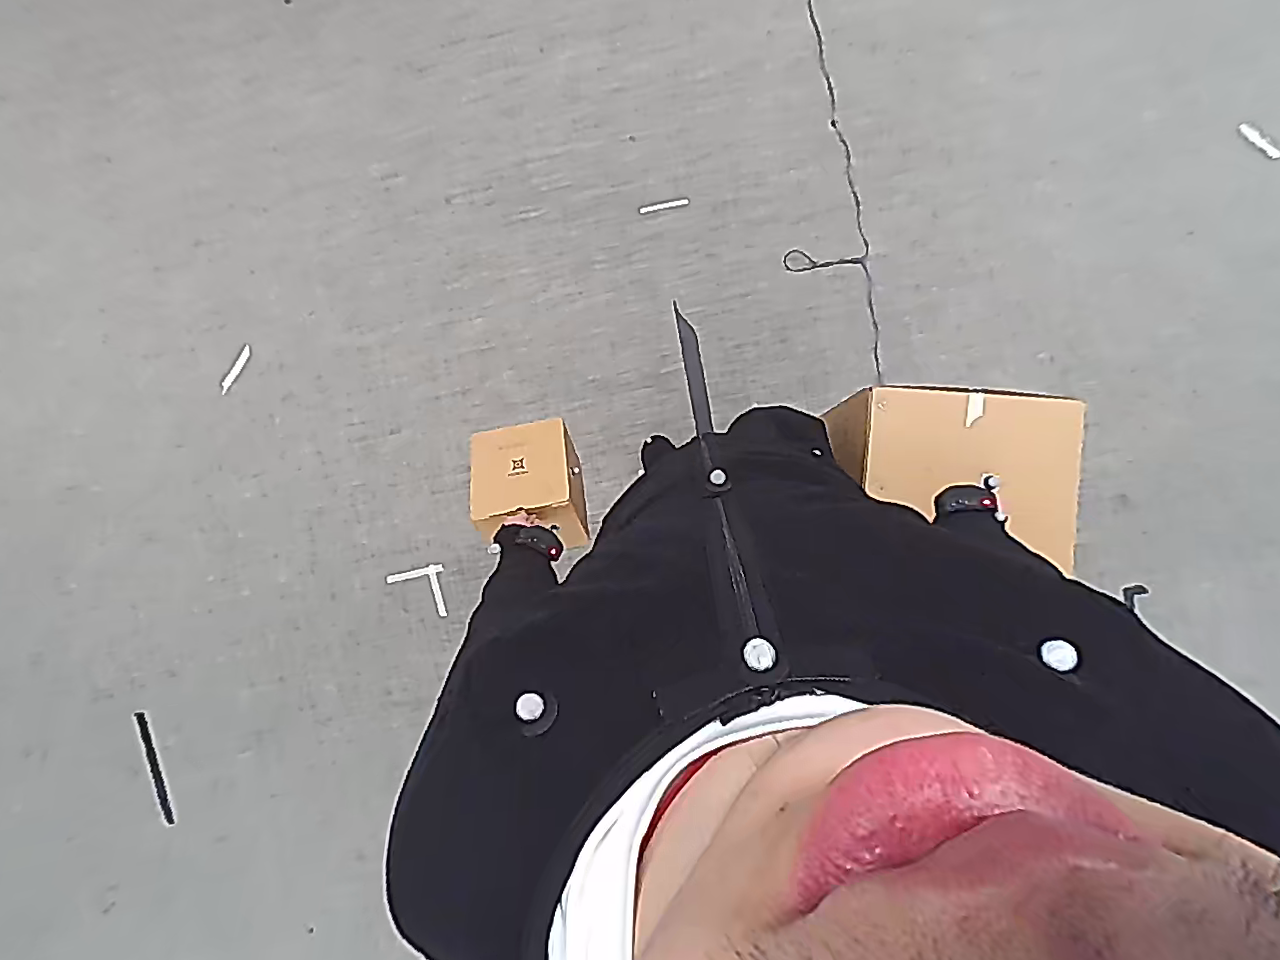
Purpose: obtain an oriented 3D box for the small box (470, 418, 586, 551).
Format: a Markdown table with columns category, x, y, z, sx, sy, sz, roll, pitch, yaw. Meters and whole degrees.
| category | x | y | z | sx | sy | sz | roll | pitch | yaw |
| --- | --- | --- | --- | --- | --- | --- | --- | --- | --- |
| small box | -0.197 | 0.018 | 0.981 | 0.168 | 0.176 | 0.179 | -11 | 60 | 0 |
